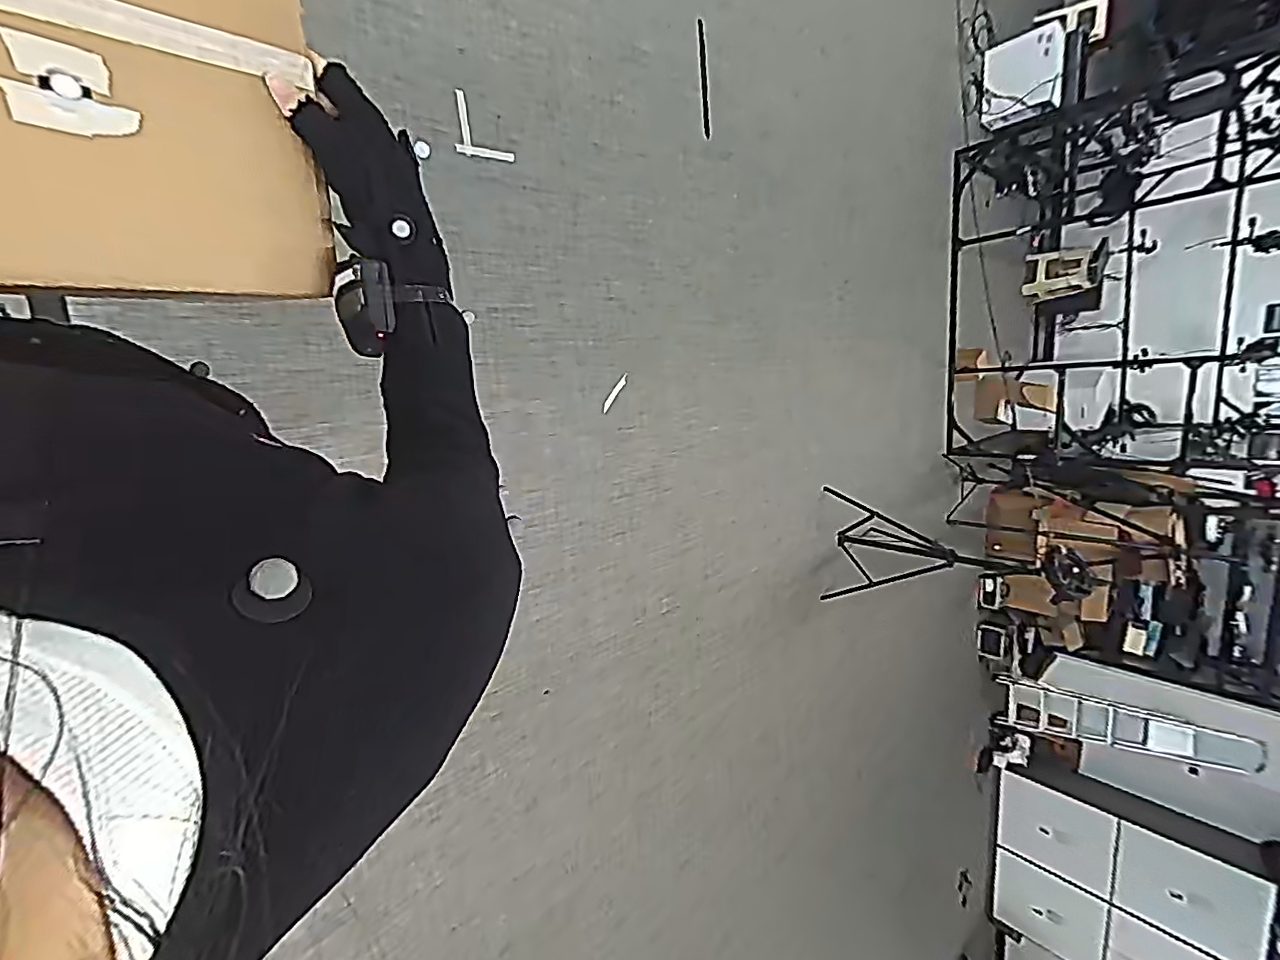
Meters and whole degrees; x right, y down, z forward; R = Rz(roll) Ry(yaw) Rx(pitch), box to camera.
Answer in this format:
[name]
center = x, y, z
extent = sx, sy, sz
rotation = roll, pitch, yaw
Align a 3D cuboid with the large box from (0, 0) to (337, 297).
[large box]
center = -0.502, -0.298, 0.382
extent = 0.408, 0.320, 0.320
rotation = -15, 114, -43
